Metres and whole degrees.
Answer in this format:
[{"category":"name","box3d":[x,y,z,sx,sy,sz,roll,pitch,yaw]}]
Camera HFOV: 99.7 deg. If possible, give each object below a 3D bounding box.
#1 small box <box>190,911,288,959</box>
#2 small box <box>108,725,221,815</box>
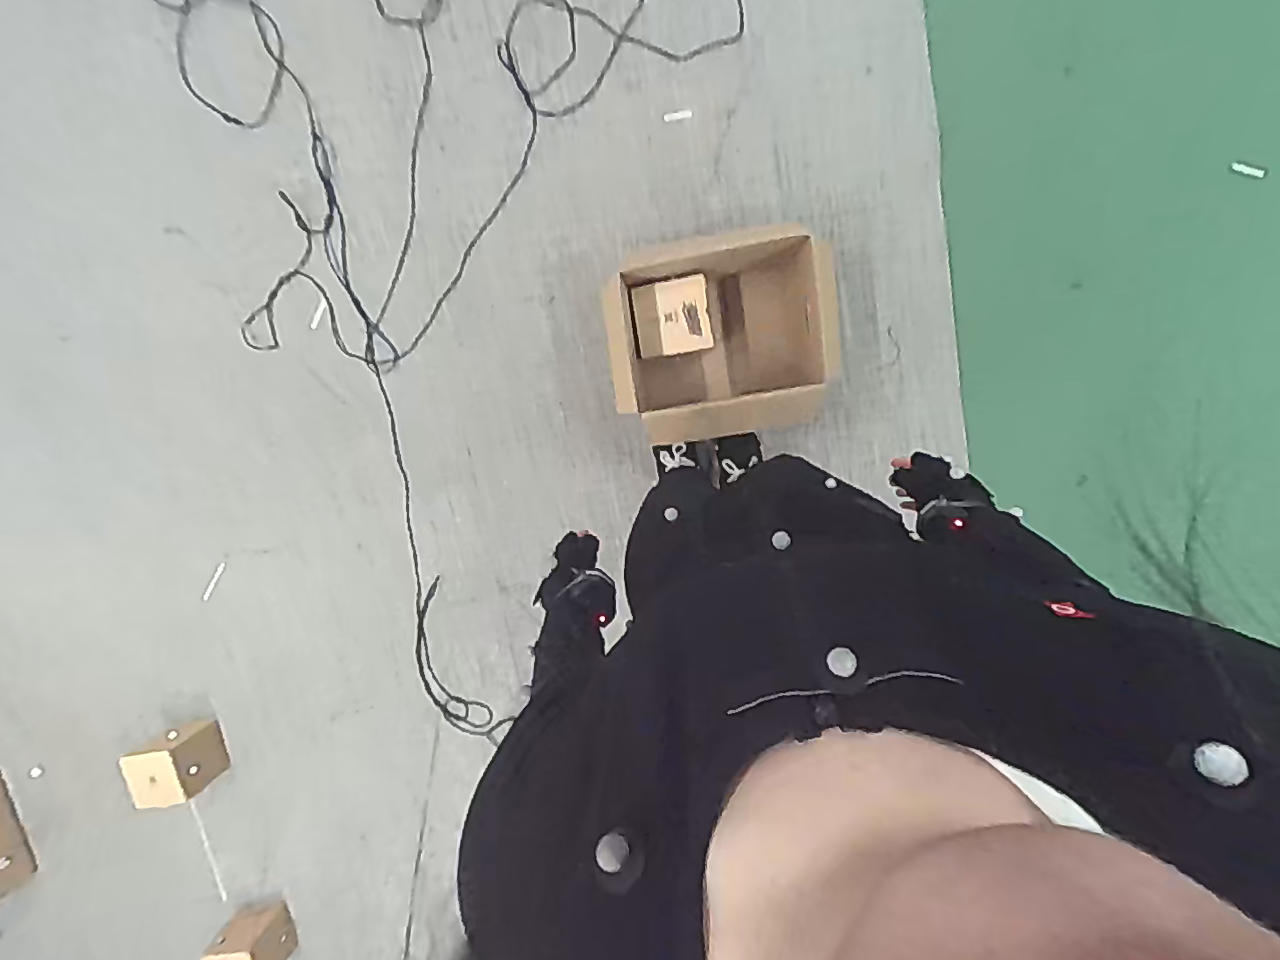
[{"category":"small box","box3d":[-1.282,1.530,1.730,0.179,0.176,0.168,-11,98,5]},{"category":"small box","box3d":[-1.430,0.867,1.637,0.168,0.176,0.179,-11,98,5]}]
